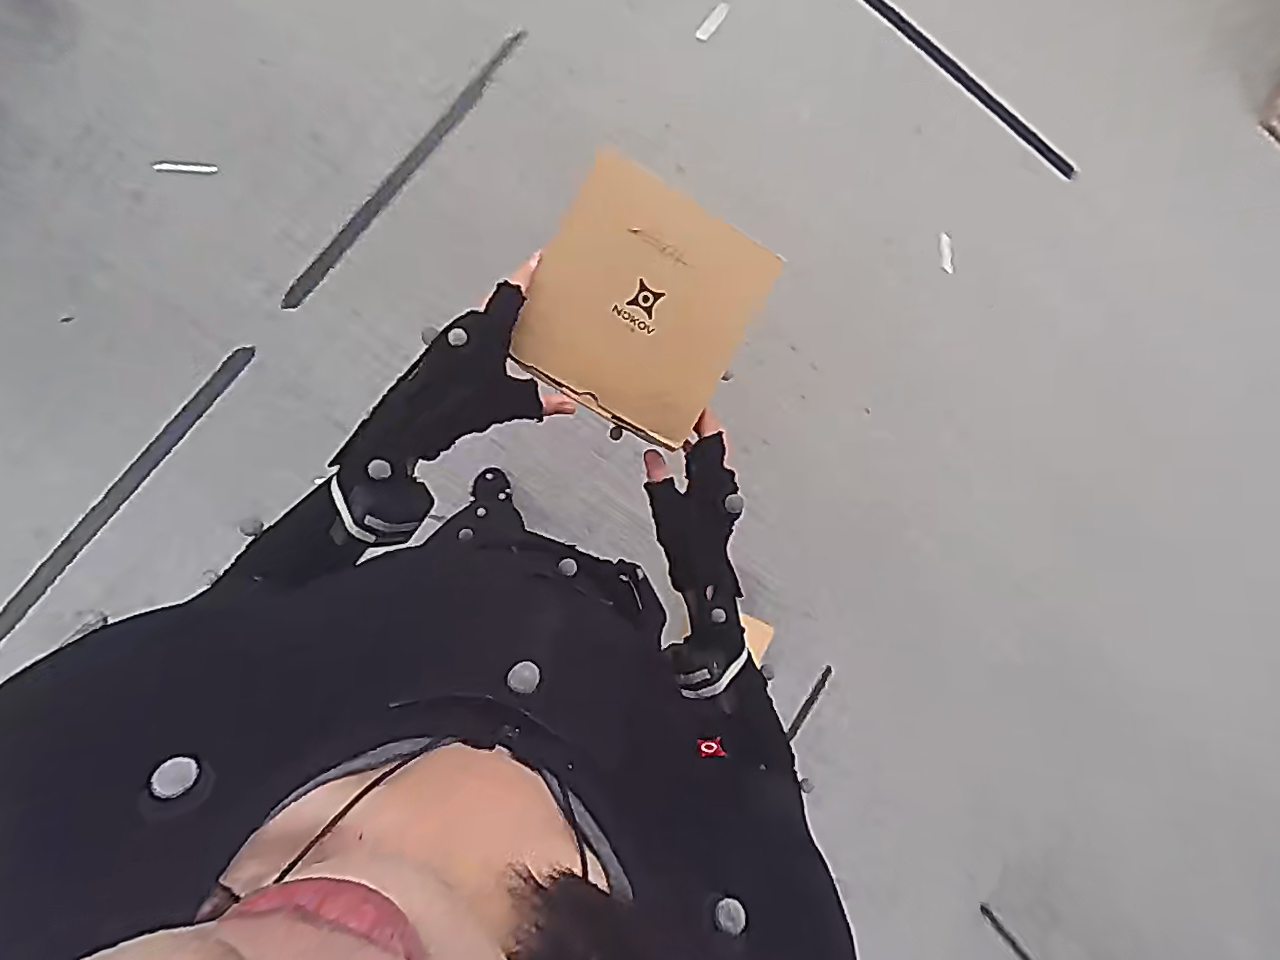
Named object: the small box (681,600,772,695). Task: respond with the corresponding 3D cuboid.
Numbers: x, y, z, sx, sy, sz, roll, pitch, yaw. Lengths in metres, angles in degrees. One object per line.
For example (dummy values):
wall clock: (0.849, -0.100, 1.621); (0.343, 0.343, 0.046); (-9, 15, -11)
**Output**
small box: (0.227, 0.448, 1.476); (0.168, 0.176, 0.179); (28, 82, -6)
